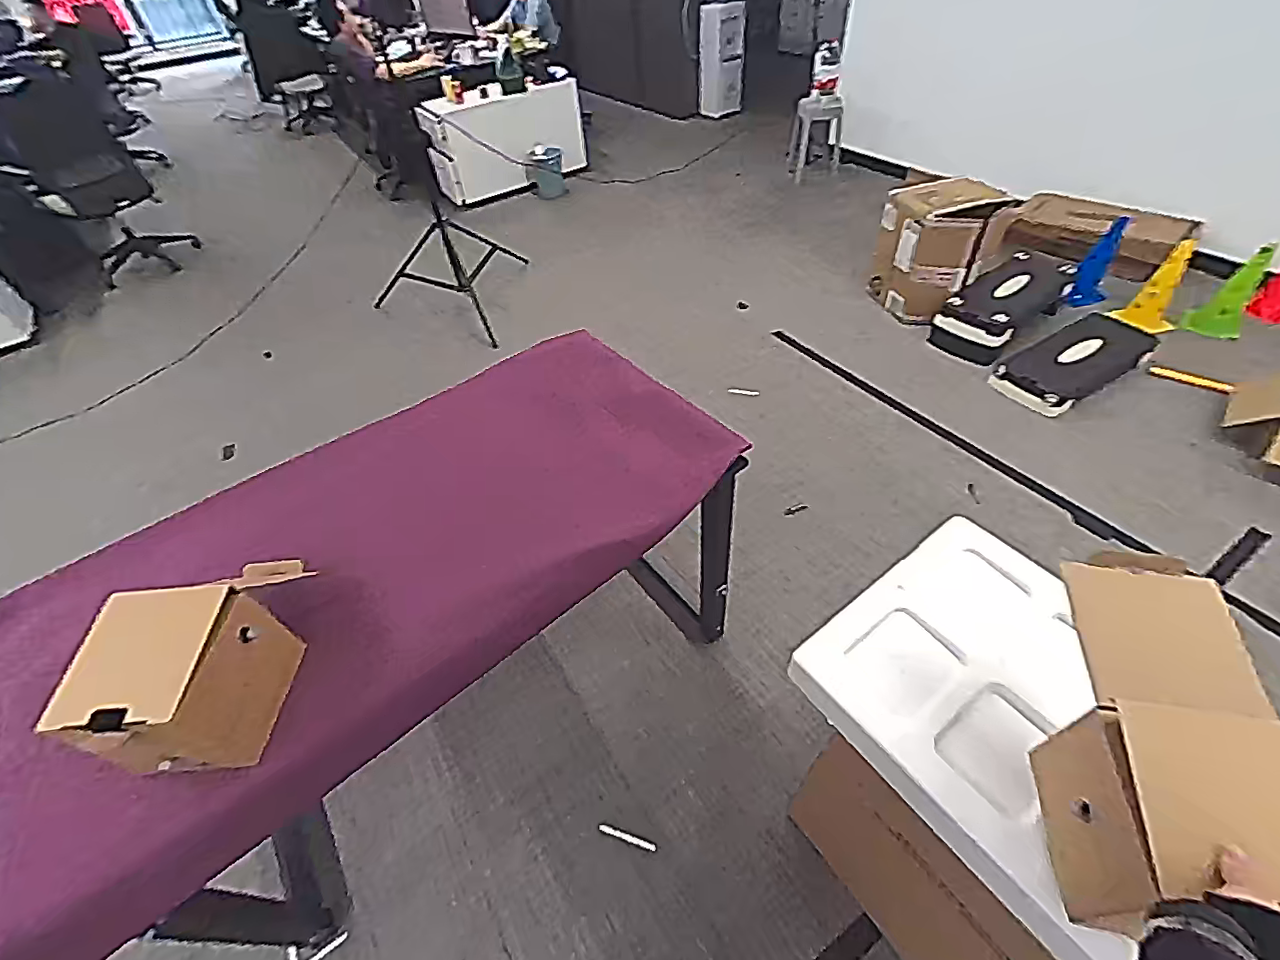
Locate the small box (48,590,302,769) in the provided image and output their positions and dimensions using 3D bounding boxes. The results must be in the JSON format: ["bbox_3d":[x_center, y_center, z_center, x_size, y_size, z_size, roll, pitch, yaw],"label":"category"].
[{"bbox_3d":[-0.604,0.273,0.738,0.168,0.176,0.179,-5,47,3],"label":"small box"}]
